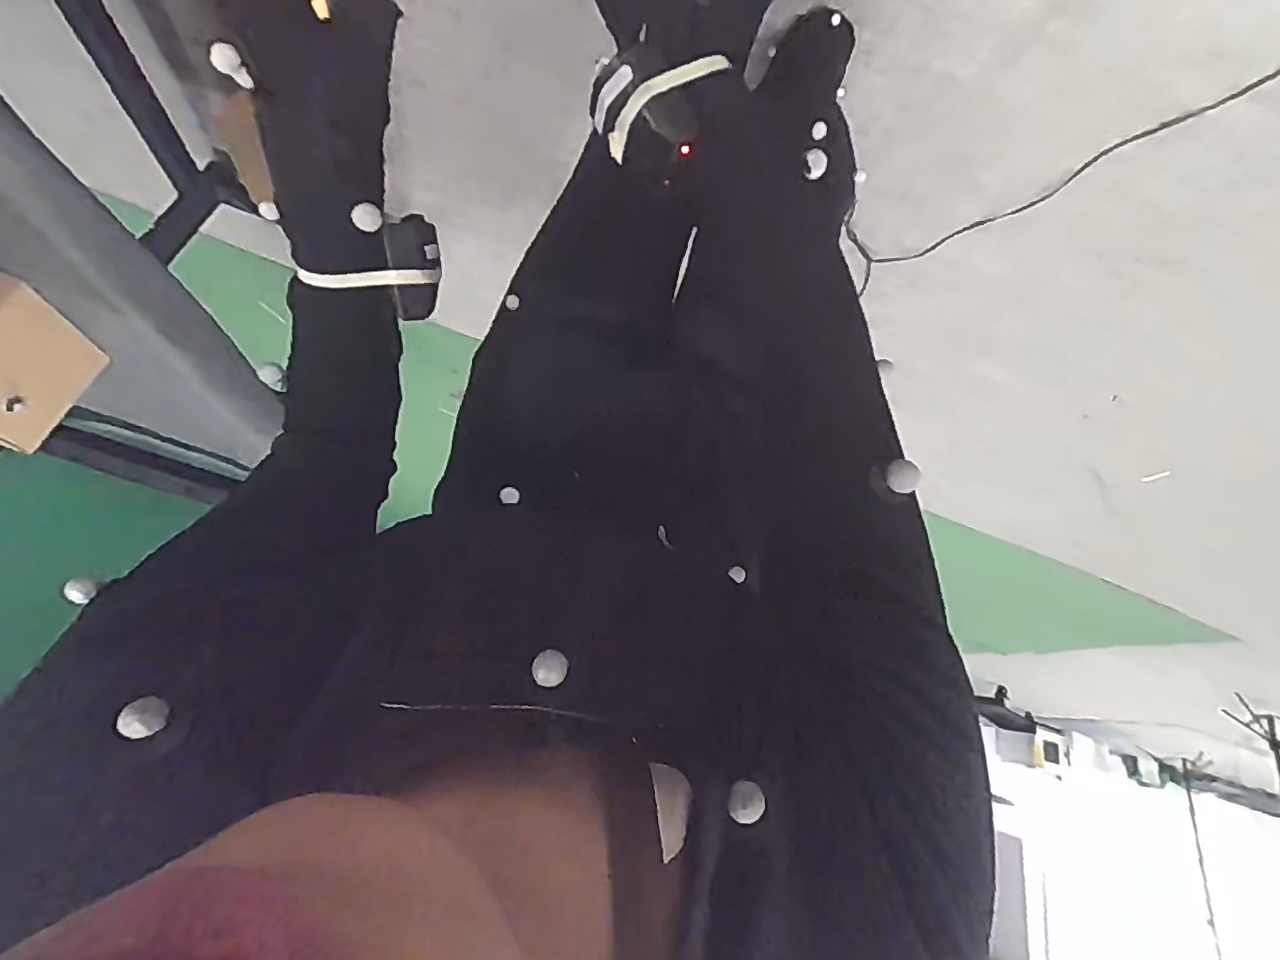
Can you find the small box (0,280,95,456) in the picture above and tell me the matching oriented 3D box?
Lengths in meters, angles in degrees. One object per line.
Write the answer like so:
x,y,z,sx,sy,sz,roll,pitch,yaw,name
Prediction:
-0.842,-0.159,0.657,0.168,0.176,0.179,20,156,-10,small box
